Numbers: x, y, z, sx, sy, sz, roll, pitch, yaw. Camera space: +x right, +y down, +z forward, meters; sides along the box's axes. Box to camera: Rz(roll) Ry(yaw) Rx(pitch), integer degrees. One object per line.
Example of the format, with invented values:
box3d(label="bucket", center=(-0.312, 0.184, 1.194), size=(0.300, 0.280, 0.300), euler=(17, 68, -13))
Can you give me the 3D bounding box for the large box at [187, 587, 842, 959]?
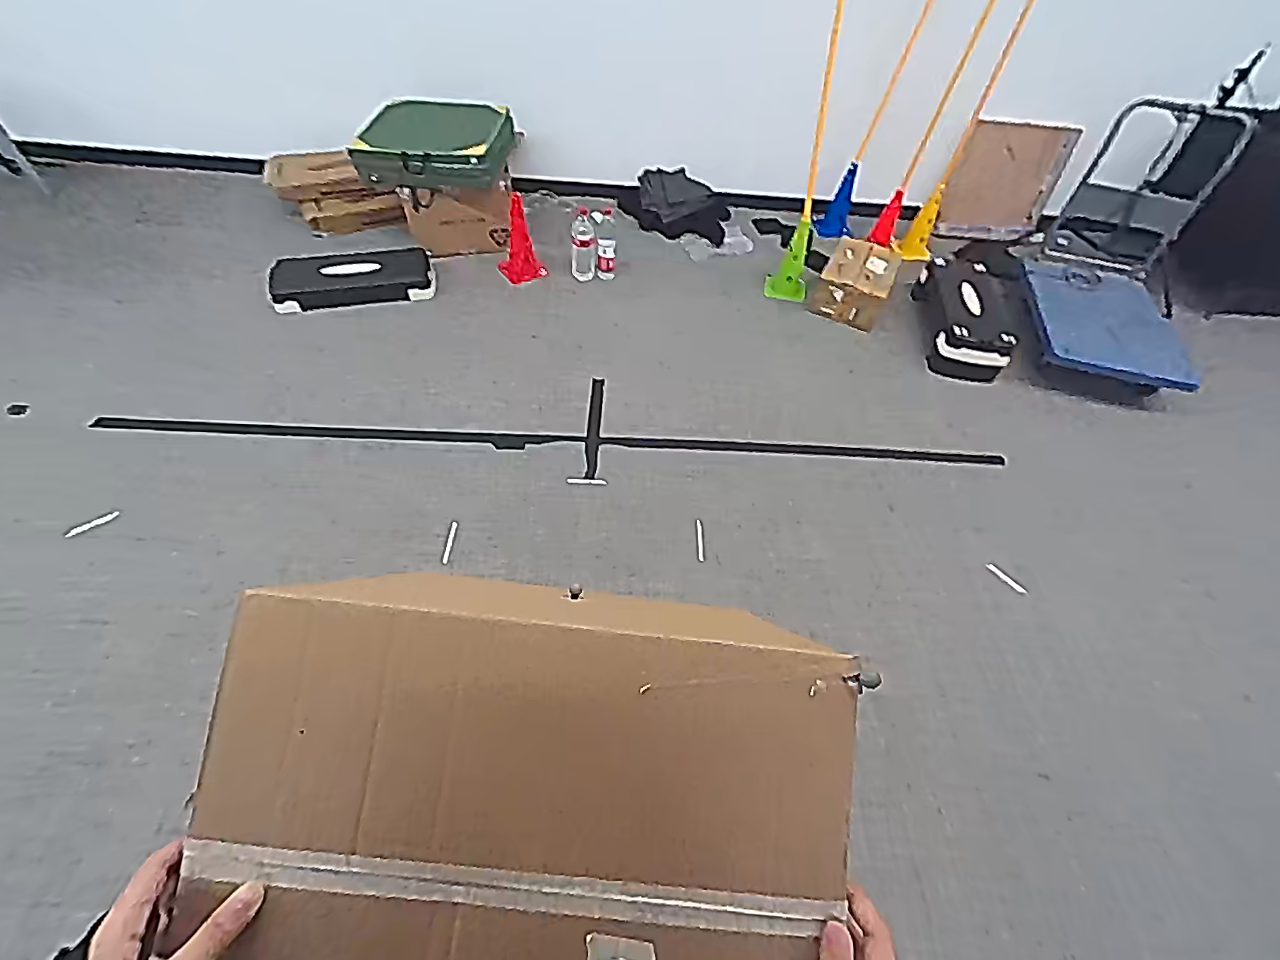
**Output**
box3d(label="large box", center=(-0.080, 0.272, 0.490), size=(0.408, 0.320, 0.320), euler=(6, 83, -2))
